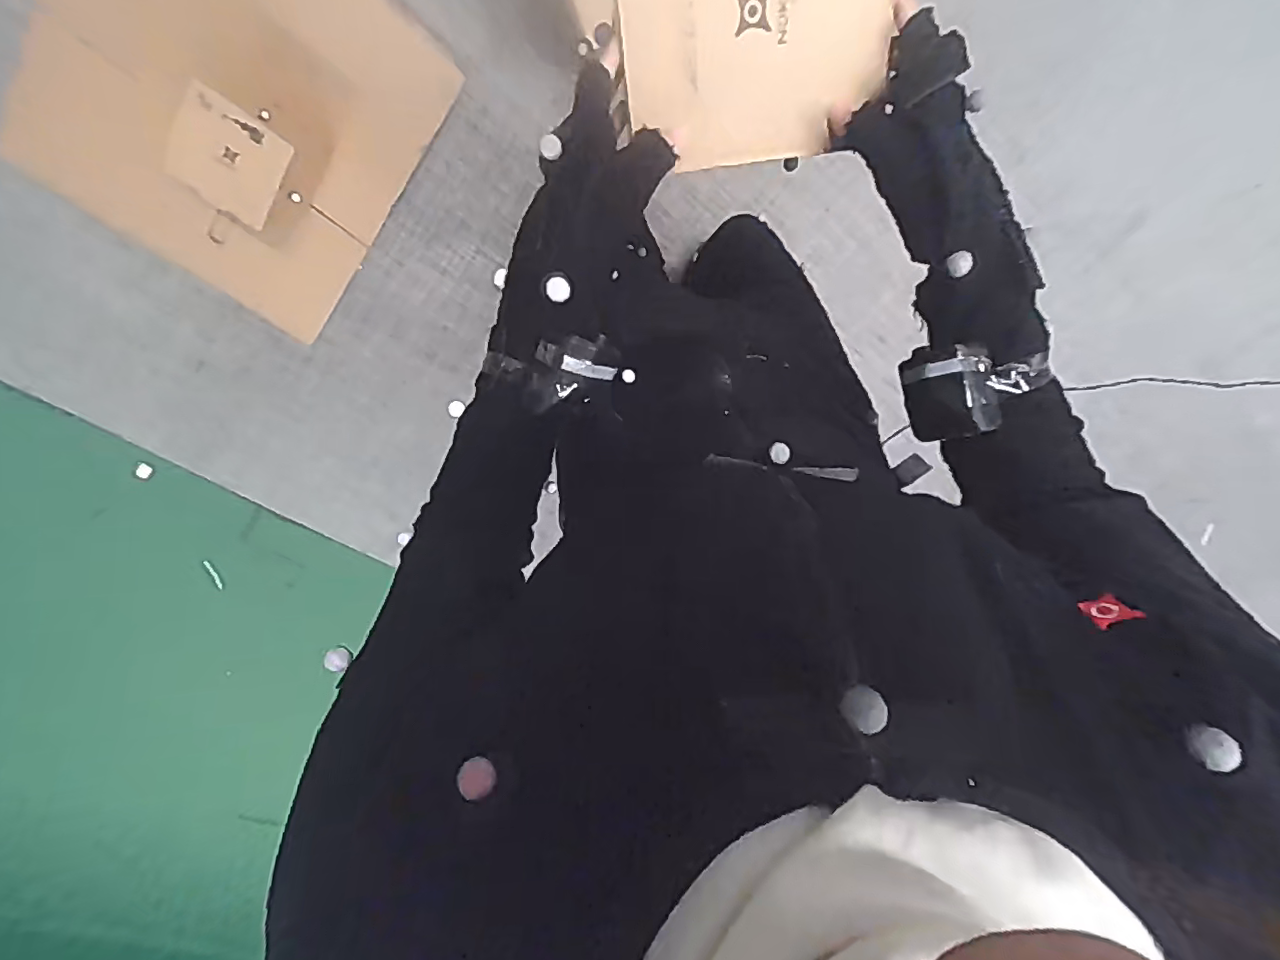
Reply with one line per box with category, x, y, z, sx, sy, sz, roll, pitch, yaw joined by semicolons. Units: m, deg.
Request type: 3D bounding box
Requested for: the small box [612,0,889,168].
small box;0.070;-0.347;0.407;0.179;0.176;0.168;-7;124;4
